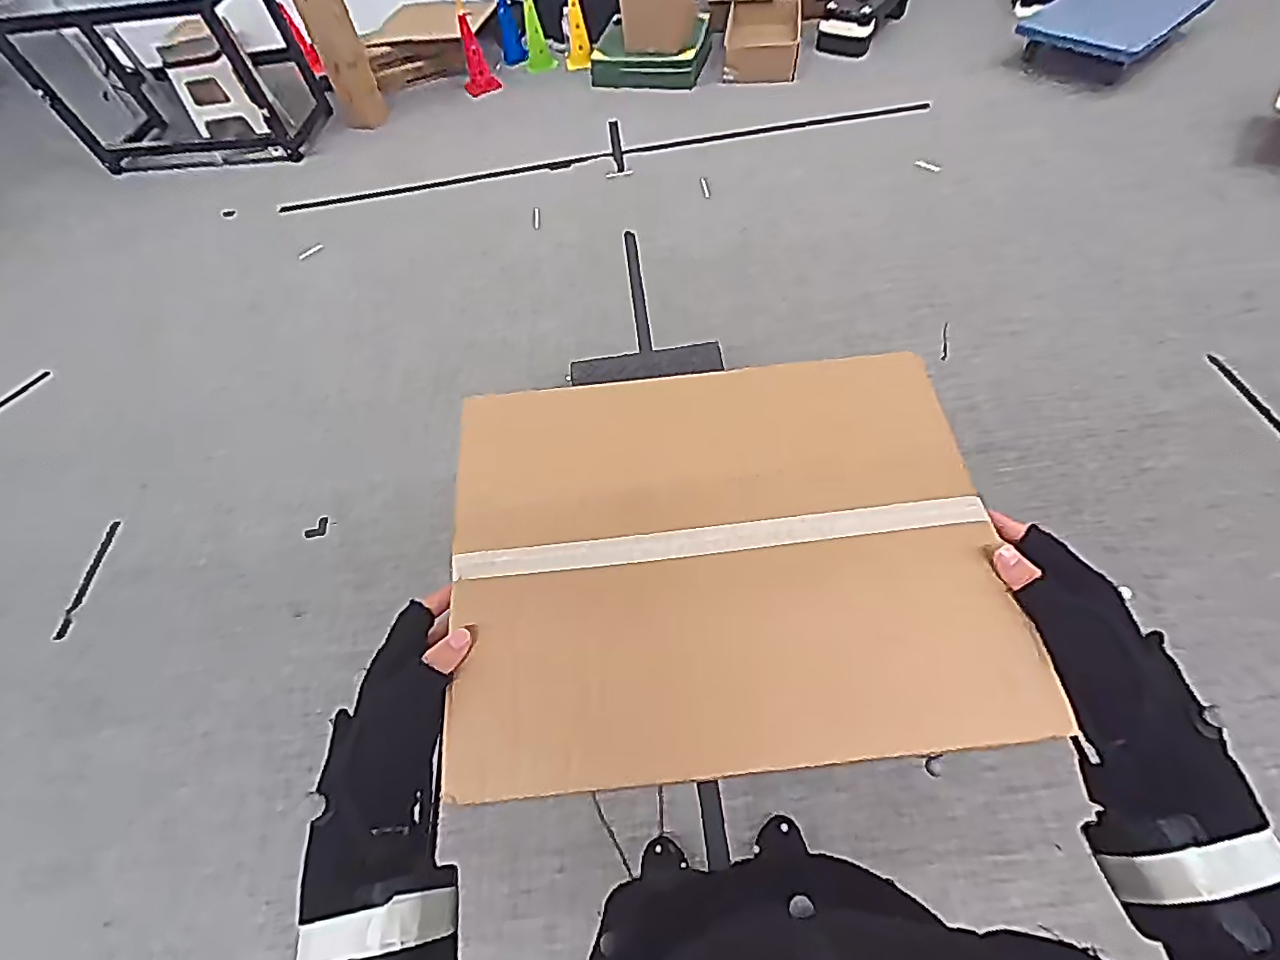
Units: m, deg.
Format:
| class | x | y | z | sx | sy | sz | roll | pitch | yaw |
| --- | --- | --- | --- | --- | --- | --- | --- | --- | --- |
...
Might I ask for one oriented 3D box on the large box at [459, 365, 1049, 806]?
| class | x | y | z | sx | sy | sz | roll | pitch | yaw |
| --- | --- | --- | --- | --- | --- | --- | --- | --- | --- |
| large box | 0.068 | 0.117 | 0.553 | 0.408 | 0.320 | 0.320 | -6 | 63 | -1 |
